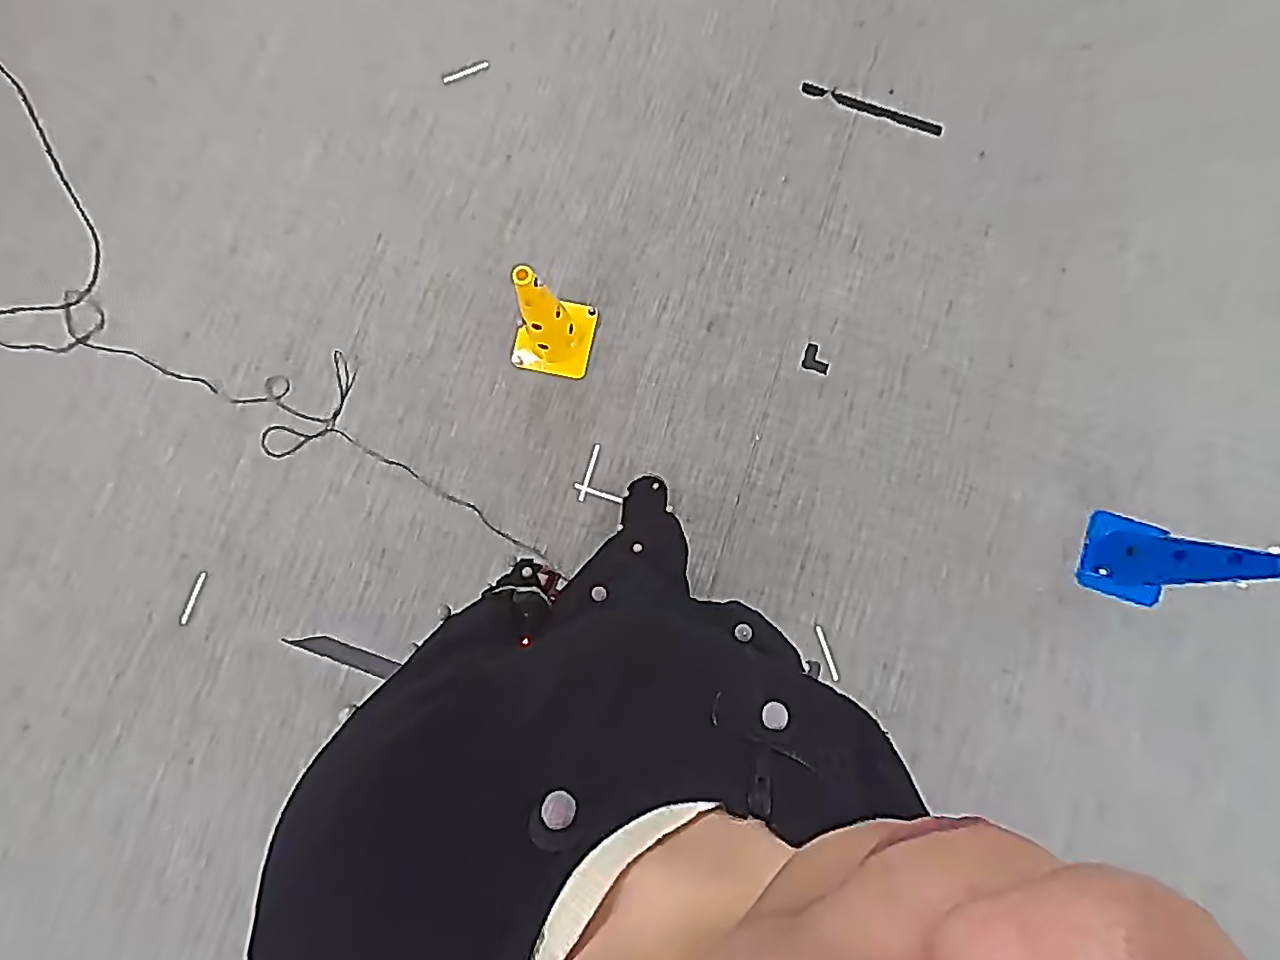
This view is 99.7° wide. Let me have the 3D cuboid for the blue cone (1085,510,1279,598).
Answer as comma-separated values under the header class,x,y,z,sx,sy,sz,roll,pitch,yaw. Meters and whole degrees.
class,x,y,z,sx,sy,sz,roll,pitch,yaw
blue cone,1.200,0.164,1.171,0.193,0.380,0.192,19,84,3
